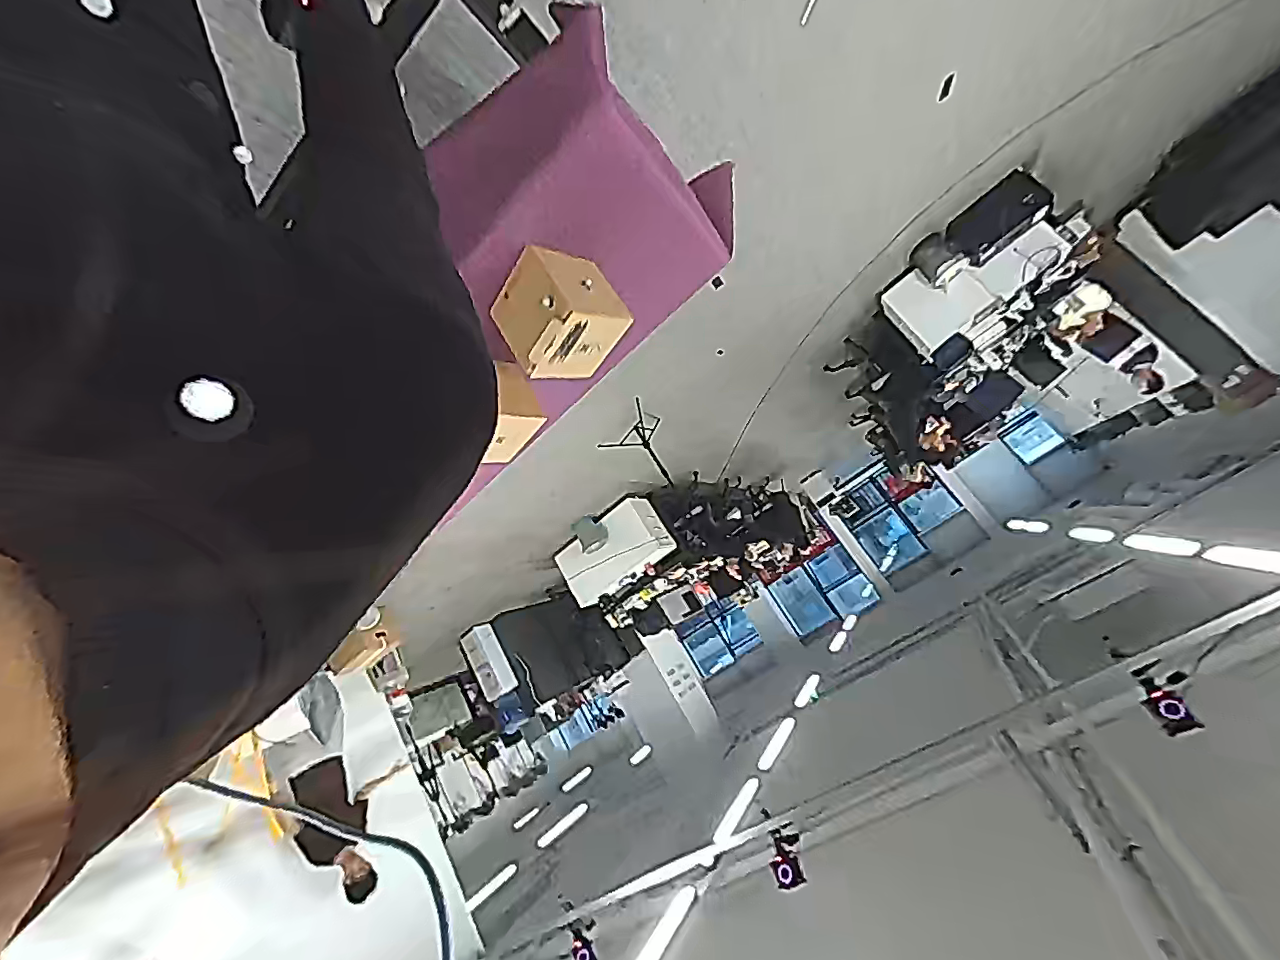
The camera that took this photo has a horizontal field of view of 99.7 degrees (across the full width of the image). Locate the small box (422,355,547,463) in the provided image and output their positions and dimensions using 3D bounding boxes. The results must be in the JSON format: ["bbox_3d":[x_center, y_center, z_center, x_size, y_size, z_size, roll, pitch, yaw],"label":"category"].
[{"bbox_3d":[-0.348,-0.154,1.197,0.168,0.176,0.179,-41,161,28],"label":"small box"}]
